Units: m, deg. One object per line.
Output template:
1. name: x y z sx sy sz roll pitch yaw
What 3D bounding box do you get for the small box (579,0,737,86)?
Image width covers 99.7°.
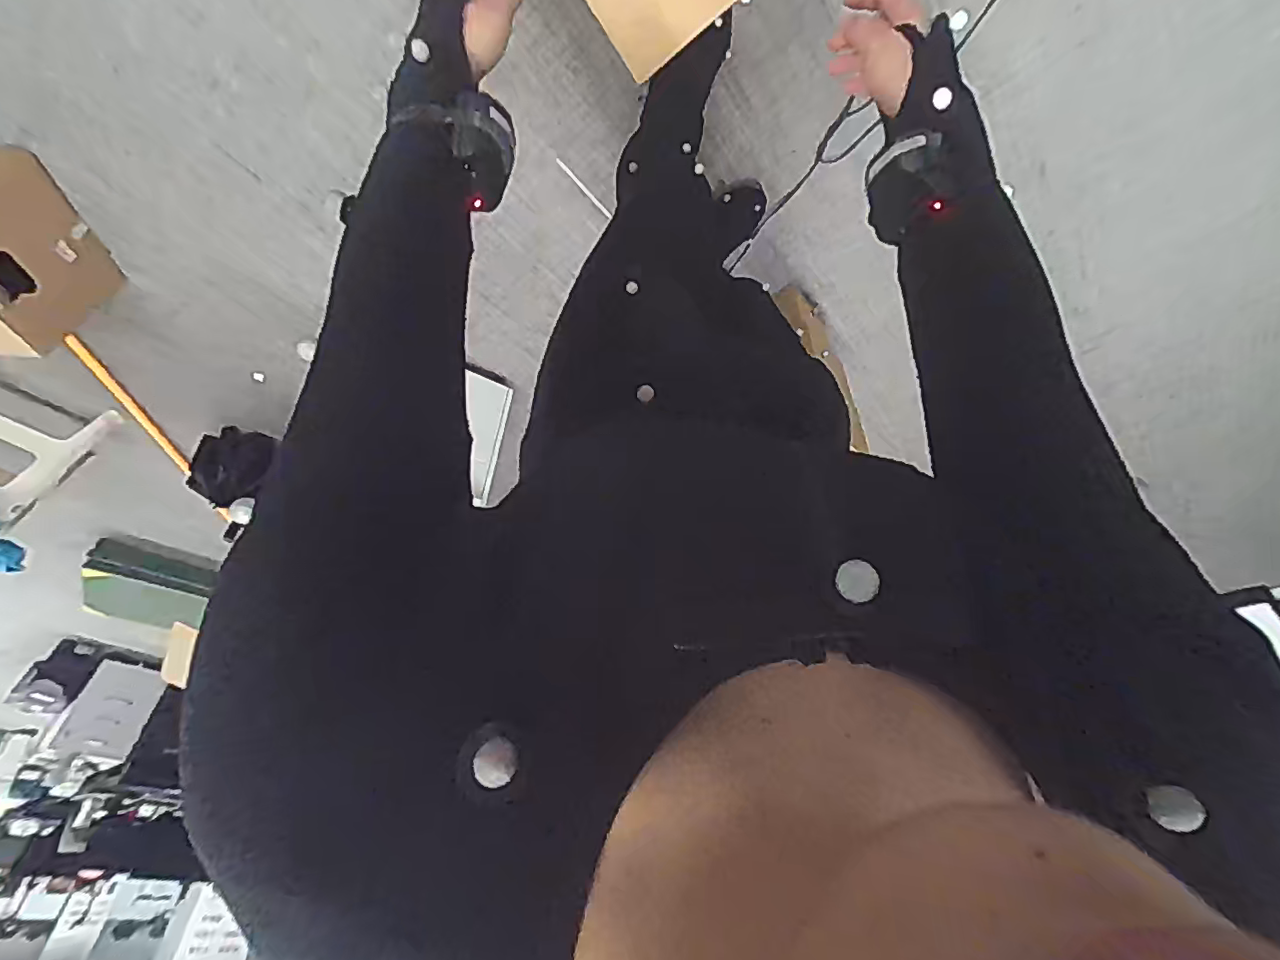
1. small box: 0.018 -0.582 0.578 0.179 0.176 0.168 -25 135 29

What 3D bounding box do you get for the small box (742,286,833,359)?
1. small box: 0.376 -0.367 1.385 0.168 0.176 0.179 -28 133 34

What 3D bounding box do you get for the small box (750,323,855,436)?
1. small box: 0.378 -0.242 1.280 0.179 0.176 0.168 31 135 -34
